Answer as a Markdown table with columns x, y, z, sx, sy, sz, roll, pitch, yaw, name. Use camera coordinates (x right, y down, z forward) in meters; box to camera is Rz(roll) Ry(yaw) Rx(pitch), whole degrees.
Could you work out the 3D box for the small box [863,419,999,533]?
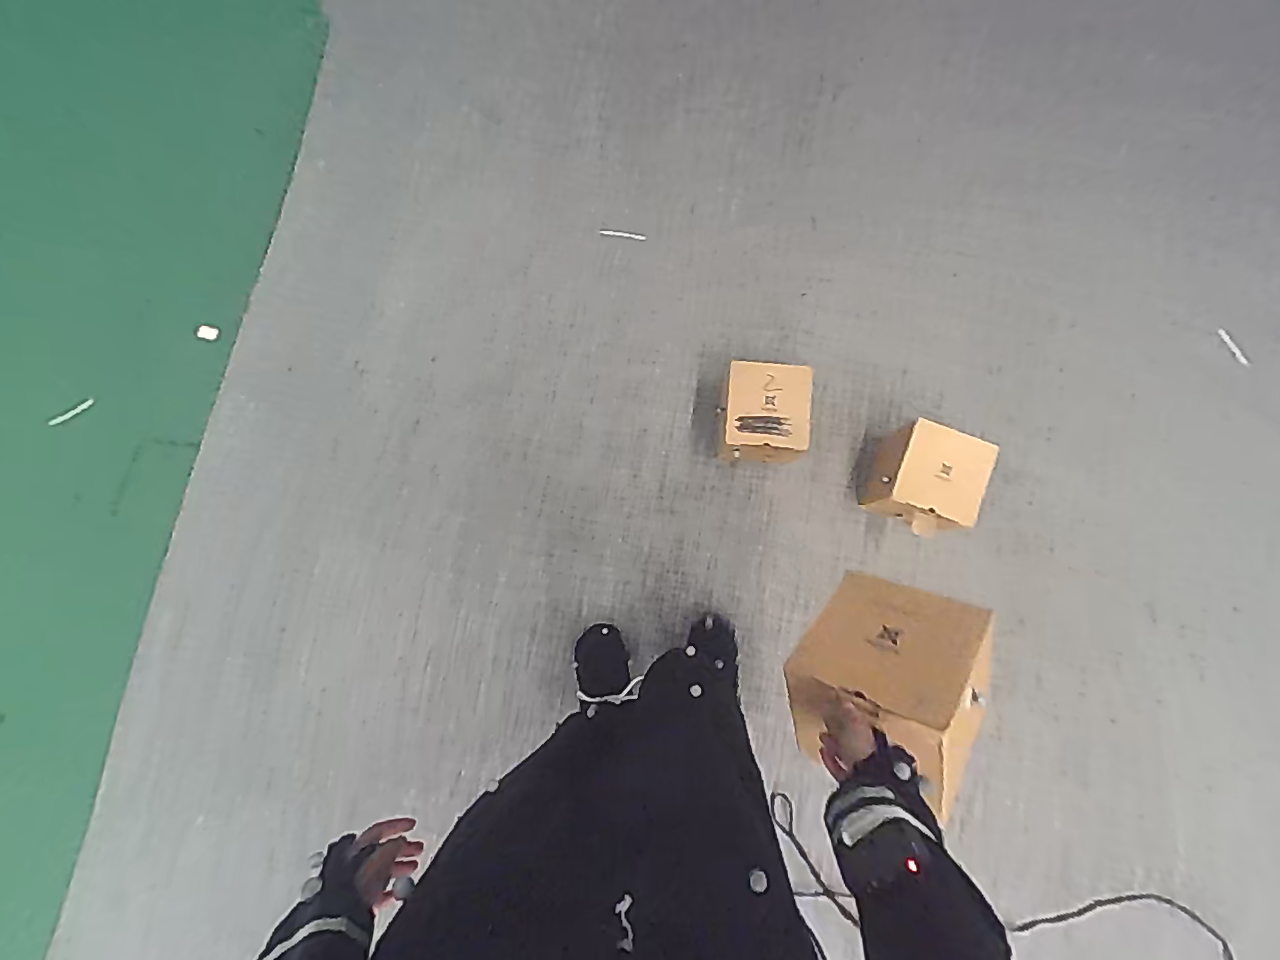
| x | y | z | sx | sy | sz | roll | pitch | yaw | name |
| --- | --- | --- | --- | --- | --- | --- | --- | --- | --- |
| 0.588 | 0.000 | 1.115 | 0.168 | 0.176 | 0.179 | 21 | 83 | 4 | small box |
